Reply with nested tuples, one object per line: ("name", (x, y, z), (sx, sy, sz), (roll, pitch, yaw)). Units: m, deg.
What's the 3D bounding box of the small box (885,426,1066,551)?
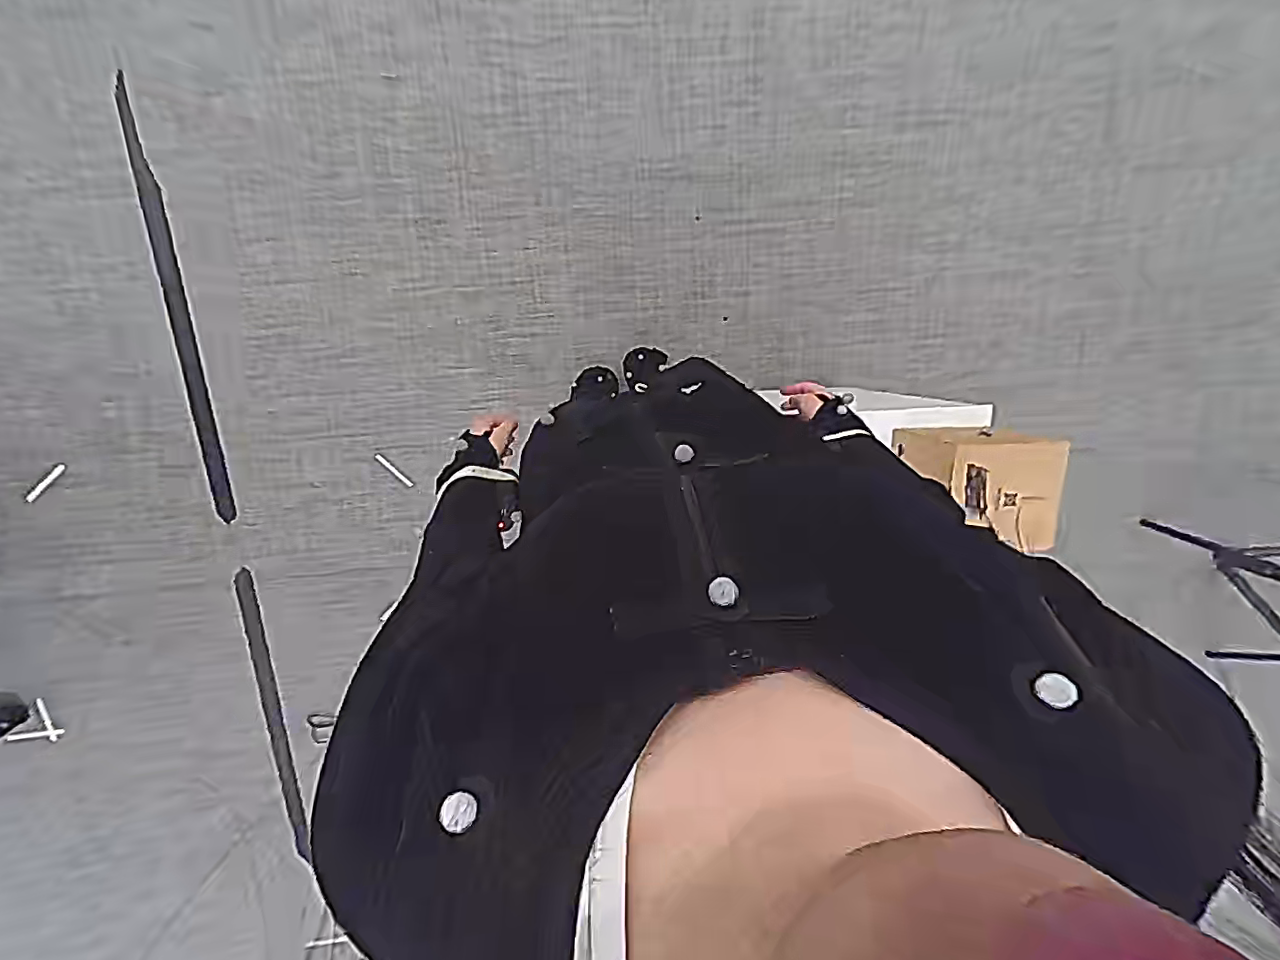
("small box", (0.518, 0.007, 0.863), (0.179, 0.176, 0.168), (-2, 104, -5))
